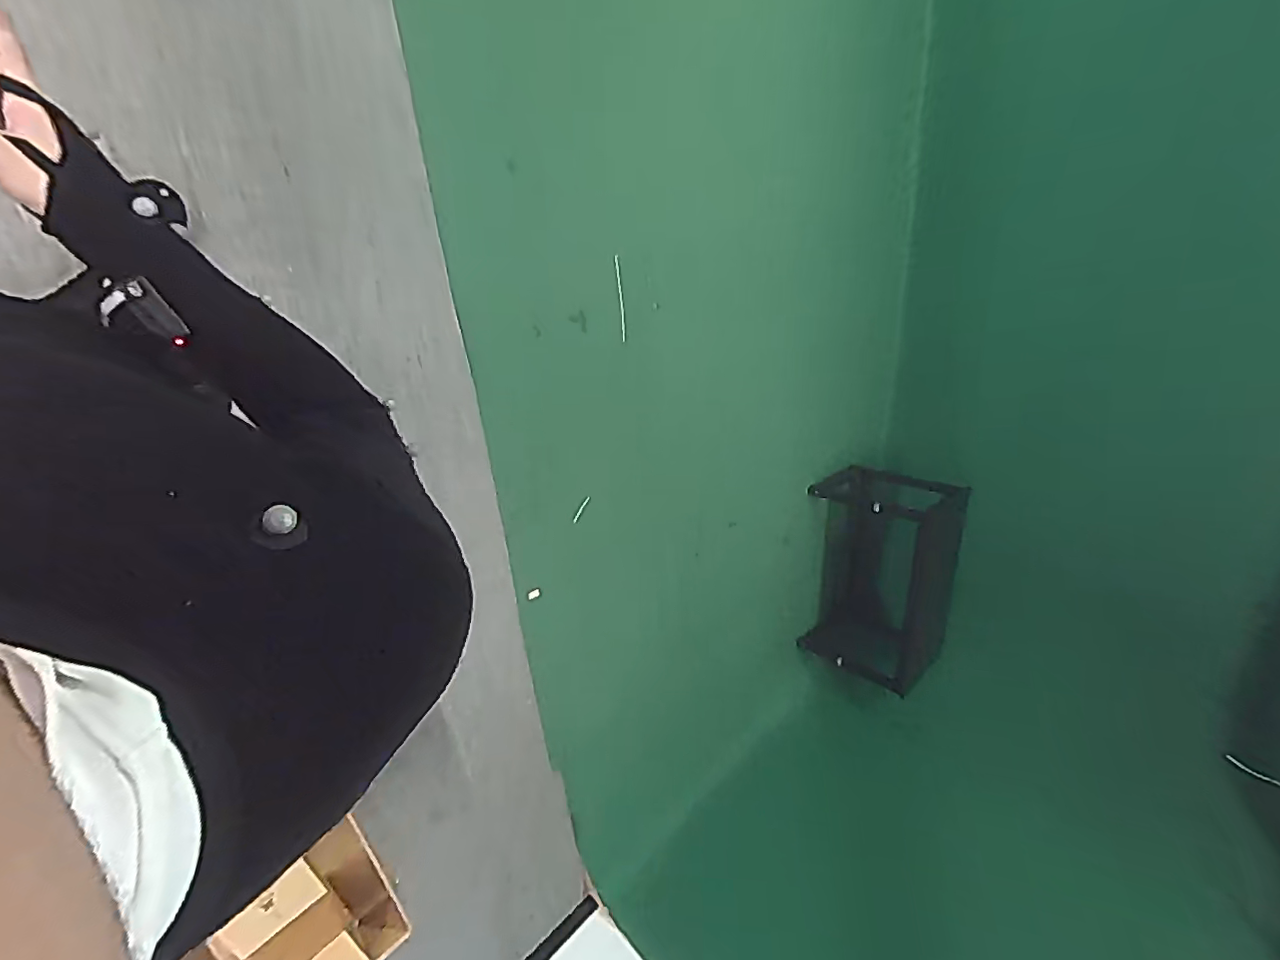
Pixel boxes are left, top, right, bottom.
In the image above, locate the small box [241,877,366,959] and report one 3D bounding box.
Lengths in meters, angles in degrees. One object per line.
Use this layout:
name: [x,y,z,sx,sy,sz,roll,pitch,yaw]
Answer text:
small box: [-0.771,1.073,1.241,0.179,0.176,0.168,-31,125,-34]
